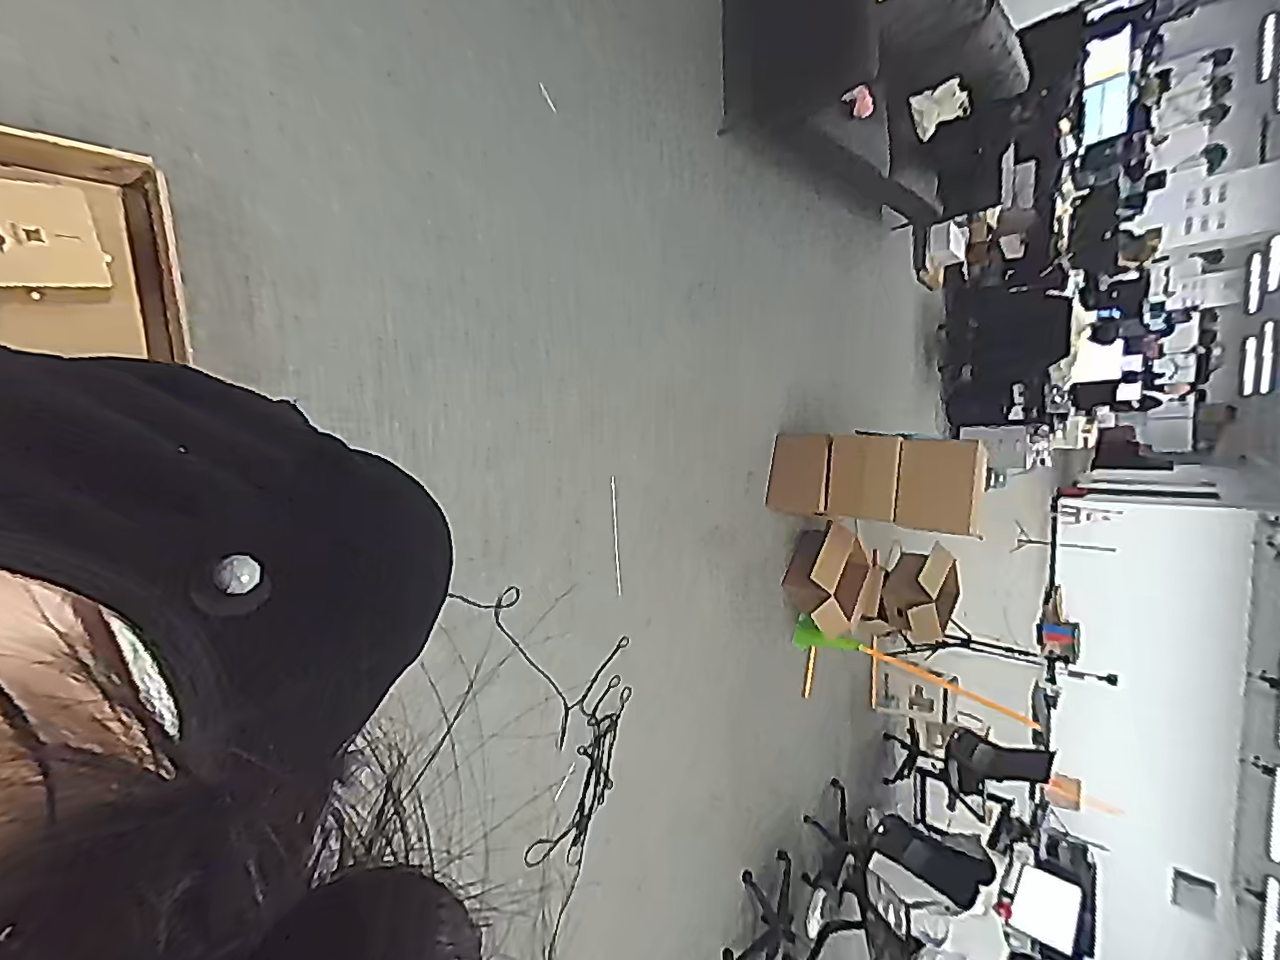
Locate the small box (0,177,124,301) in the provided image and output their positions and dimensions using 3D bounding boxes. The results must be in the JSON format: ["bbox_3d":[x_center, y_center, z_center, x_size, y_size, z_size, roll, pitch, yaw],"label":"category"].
[{"bbox_3d":[-1.044,-0.412,0.947,0.179,0.176,0.168,-18,106,-42],"label":"small box"}]
